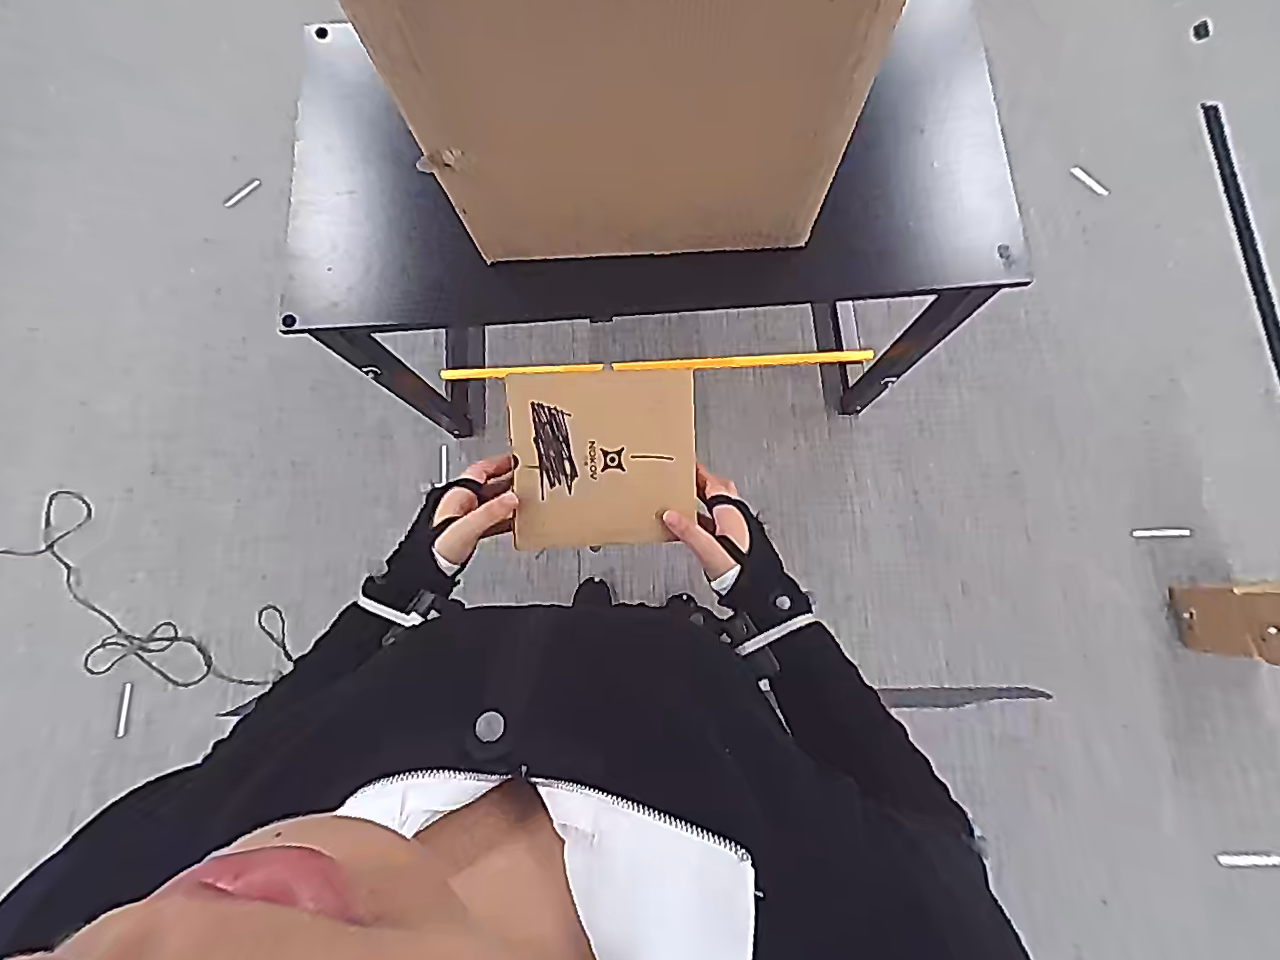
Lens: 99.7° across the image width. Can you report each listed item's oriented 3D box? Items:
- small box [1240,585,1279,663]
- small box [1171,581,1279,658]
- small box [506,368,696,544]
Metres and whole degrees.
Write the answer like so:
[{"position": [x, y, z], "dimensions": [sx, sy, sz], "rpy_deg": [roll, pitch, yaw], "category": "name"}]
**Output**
[{"position": [1.505, 0.311, 1.180], "dimensions": [0.179, 0.176, 0.168], "rpy_deg": [-11, 77, 0], "category": "small box"}, {"position": [1.499, 0.340, 1.343], "dimensions": [0.179, 0.176, 0.168], "rpy_deg": [-6, 78, 2], "category": "small box"}, {"position": [-0.039, -0.027, 0.582], "dimensions": [0.179, 0.176, 0.168], "rpy_deg": [-2, 95, -4], "category": "small box"}]
